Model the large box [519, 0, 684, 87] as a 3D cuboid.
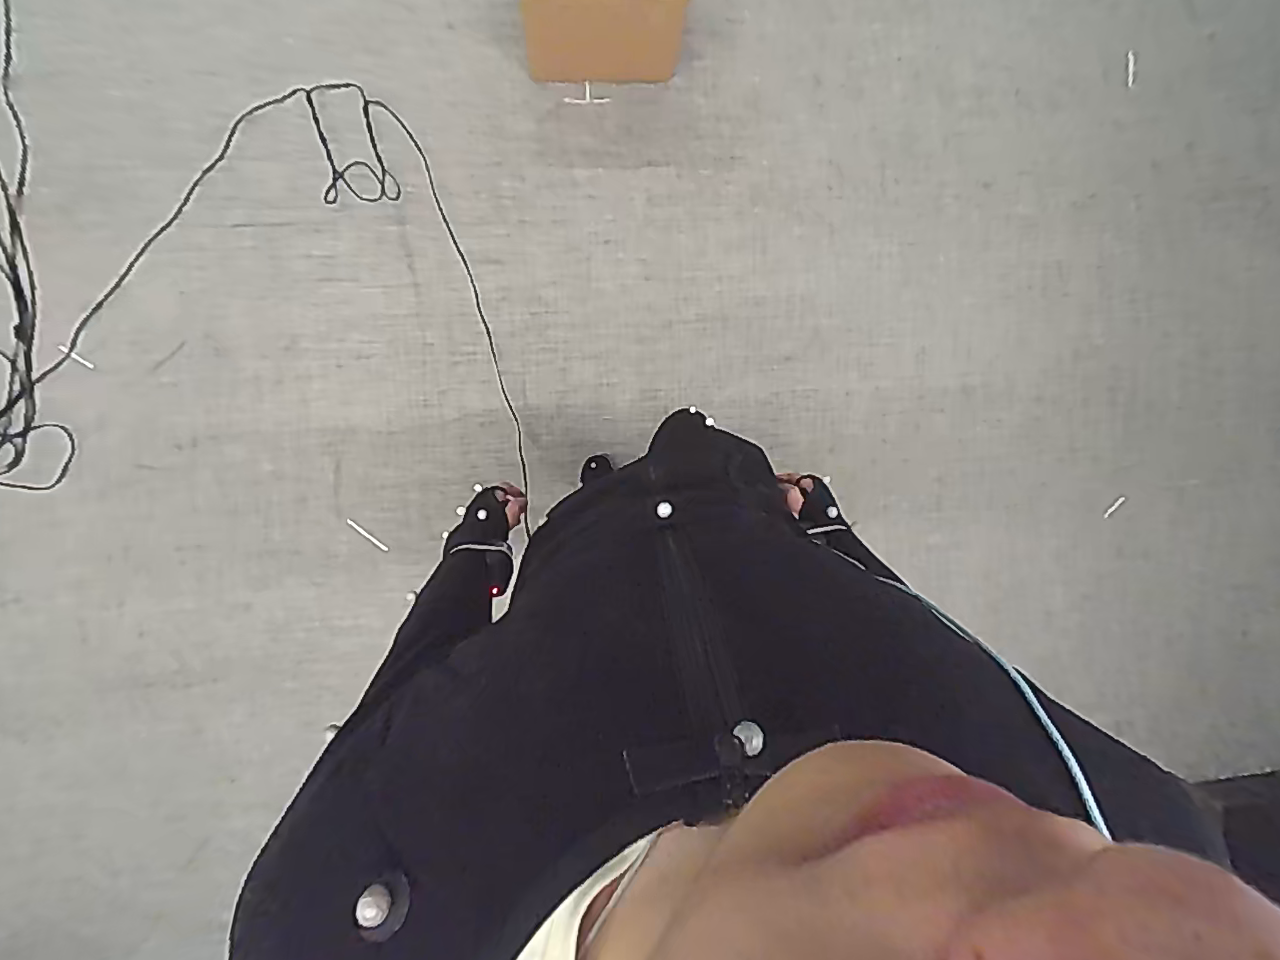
[{"bbox_3d":[-0.118,-1.295,1.421,0.408,0.320,0.320,-6,94,-6],"label":"large box"}]
